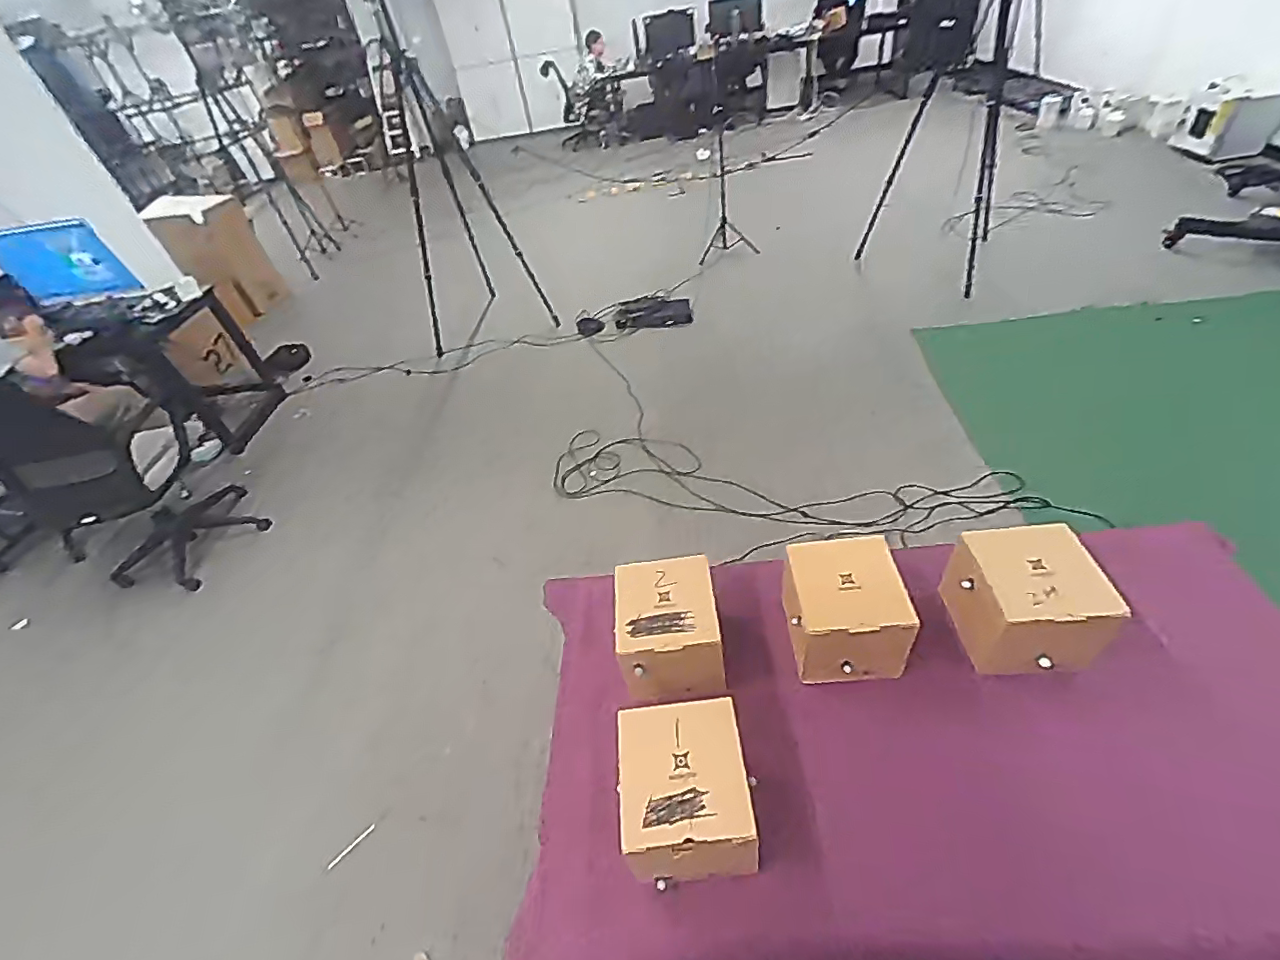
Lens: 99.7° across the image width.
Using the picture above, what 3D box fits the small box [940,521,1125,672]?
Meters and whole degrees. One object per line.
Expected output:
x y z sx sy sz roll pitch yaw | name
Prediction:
0.619 0.192 0.887 0.168 0.176 0.179 -6 44 8 | small box

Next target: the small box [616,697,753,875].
0.062 0.436 0.764 0.168 0.176 0.179 -9 41 4 | small box

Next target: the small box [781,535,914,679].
0.341 0.219 0.929 0.168 0.176 0.179 -6 45 6 | small box
